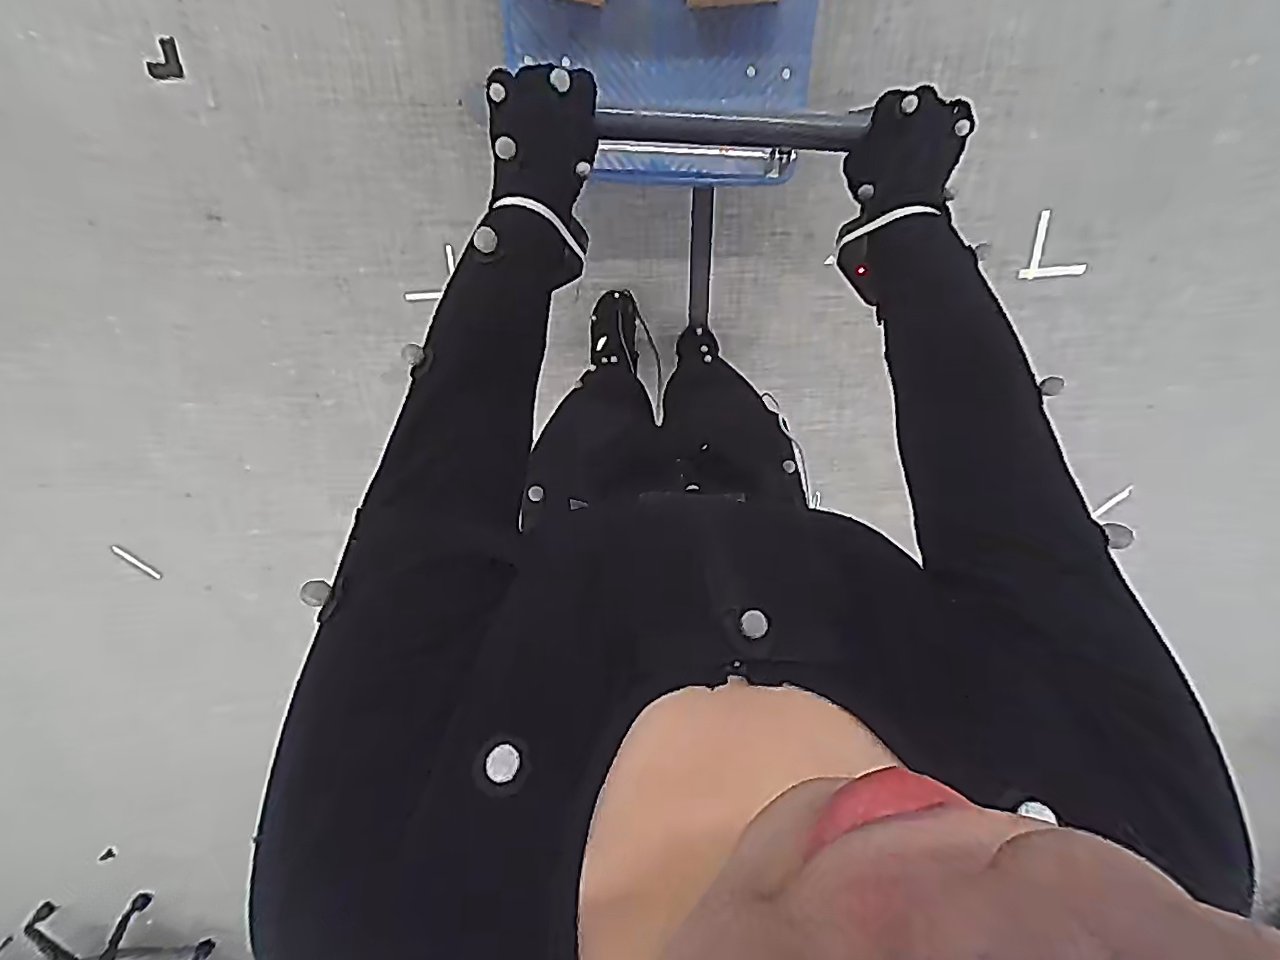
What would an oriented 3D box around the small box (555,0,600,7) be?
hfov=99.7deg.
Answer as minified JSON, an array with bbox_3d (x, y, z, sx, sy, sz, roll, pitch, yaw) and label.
[{"bbox_3d":[-0.139,-0.904,0.867,0.179,0.176,0.168,5,113,-8],"label":"small box"}]

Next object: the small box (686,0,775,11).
[{"bbox_3d":[0.167,-0.906,0.888,0.179,0.176,0.168,-5,115,-2],"label":"small box"}]
